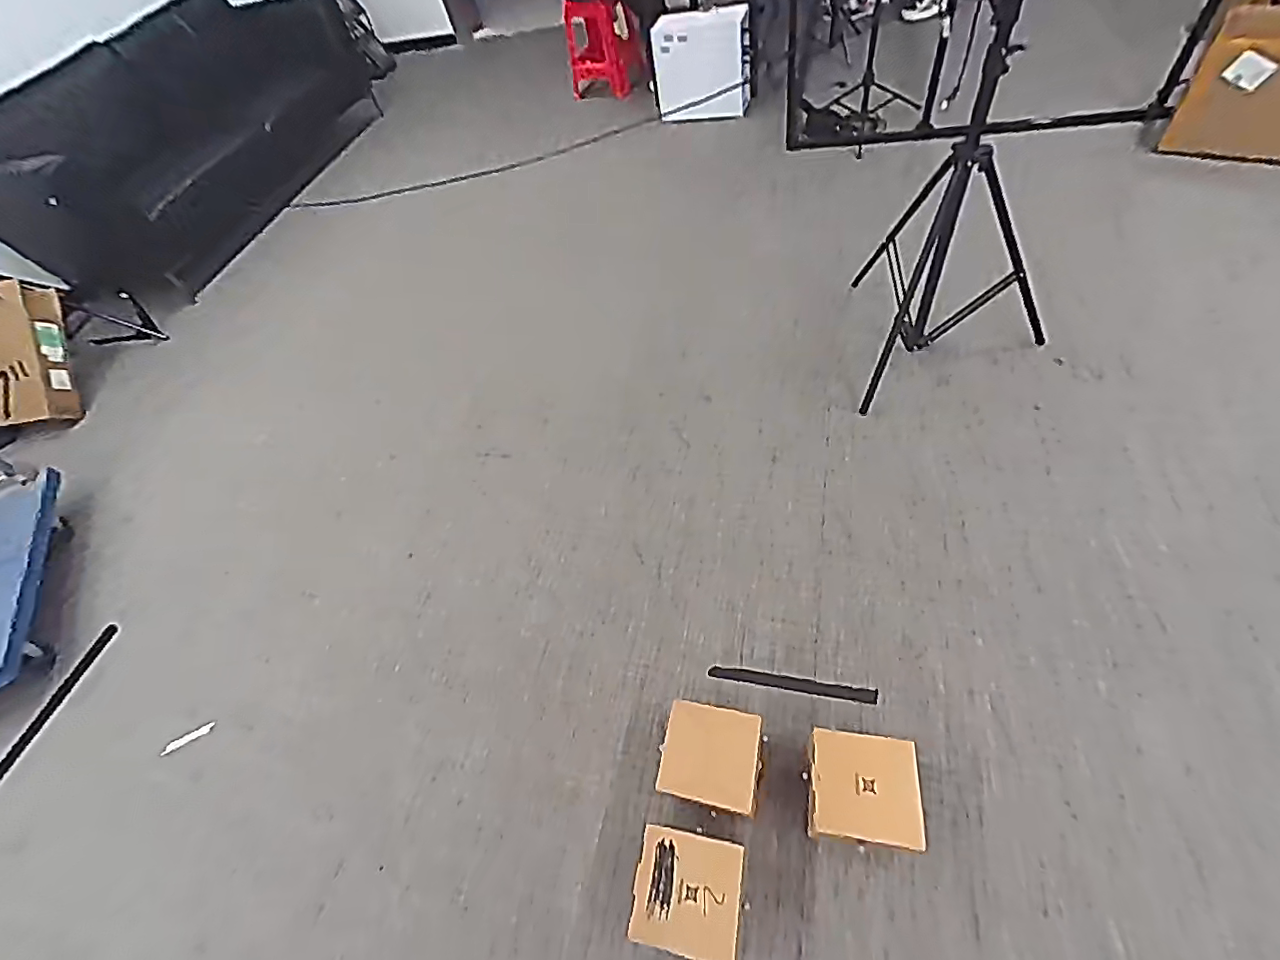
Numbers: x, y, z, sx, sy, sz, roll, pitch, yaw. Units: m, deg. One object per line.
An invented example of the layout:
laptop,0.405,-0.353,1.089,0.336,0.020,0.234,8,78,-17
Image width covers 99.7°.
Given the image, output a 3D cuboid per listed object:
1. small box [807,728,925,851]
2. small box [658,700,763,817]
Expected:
small box,0.407,0.574,1.003,0.179,0.176,0.168,1,55,14
small box,0.146,0.553,1.073,0.179,0.176,0.168,6,56,16
